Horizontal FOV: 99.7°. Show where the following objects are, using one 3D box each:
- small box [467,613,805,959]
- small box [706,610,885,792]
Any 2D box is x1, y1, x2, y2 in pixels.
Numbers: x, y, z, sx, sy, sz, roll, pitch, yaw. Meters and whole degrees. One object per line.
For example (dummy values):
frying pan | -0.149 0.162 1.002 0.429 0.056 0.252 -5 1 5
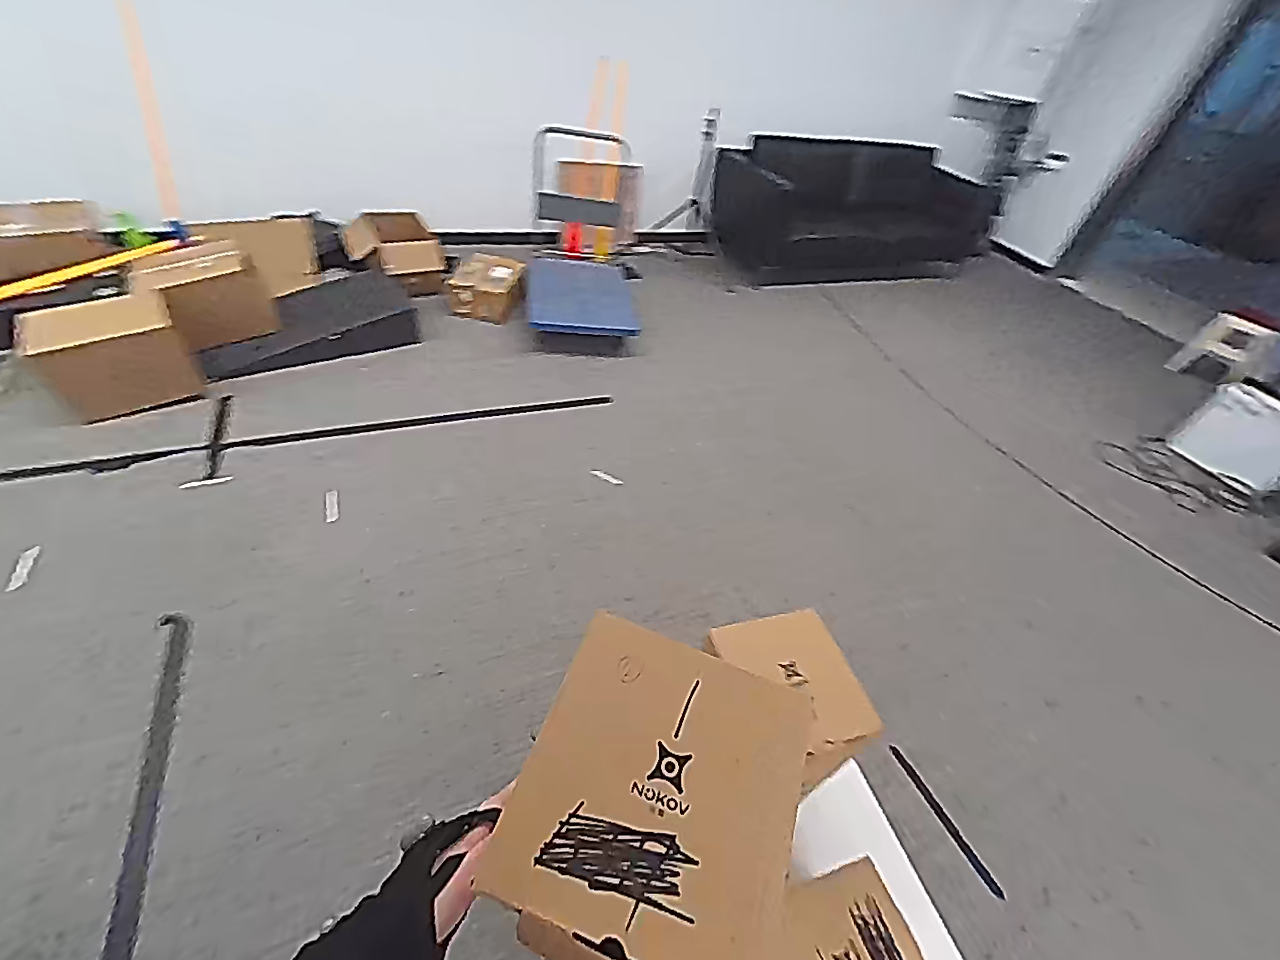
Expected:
small box | 0.002 0.233 0.396 0.168 0.176 0.179 19 53 7
small box | 0.180 0.305 0.730 0.168 0.176 0.179 -6 46 -17
